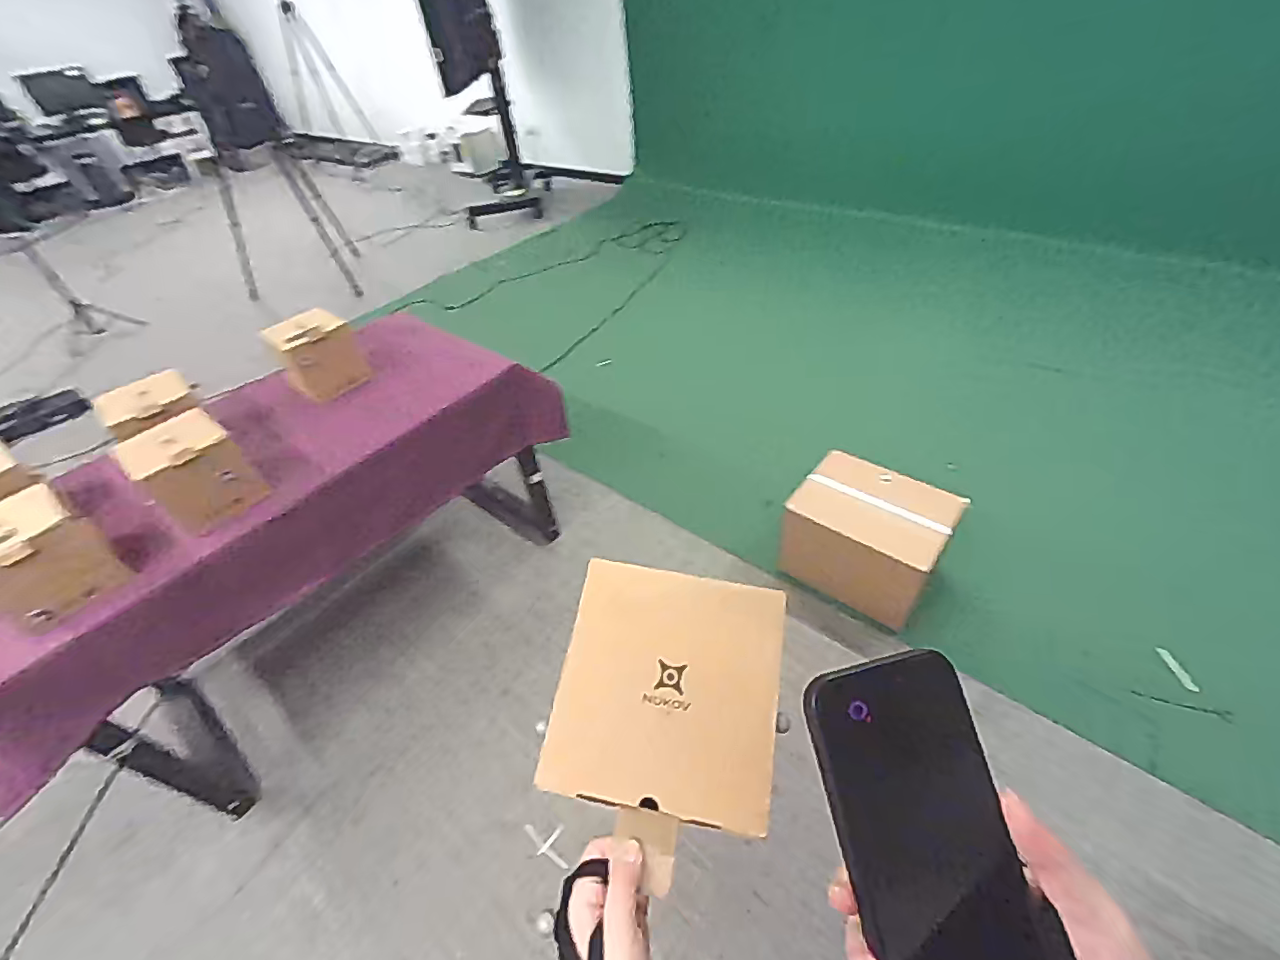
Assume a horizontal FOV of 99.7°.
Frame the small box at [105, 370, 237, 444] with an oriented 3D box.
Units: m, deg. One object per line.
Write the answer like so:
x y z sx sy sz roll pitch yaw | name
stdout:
-1.105 -0.130 1.282 0.168 0.176 0.179 -37 51 -26 | small box

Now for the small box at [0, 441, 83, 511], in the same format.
-1.325 0.053 1.125 0.179 0.176 0.168 24 51 27 | small box

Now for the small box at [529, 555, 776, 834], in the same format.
0.016 0.186 0.483 0.168 0.176 0.179 9 66 6 | small box

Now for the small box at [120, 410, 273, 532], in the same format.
-0.924 -0.016 1.140 0.179 0.176 0.168 26 53 31 | small box

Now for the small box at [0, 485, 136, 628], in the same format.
-1.094 0.145 0.997 0.179 0.176 0.168 25 52 31 | small box
